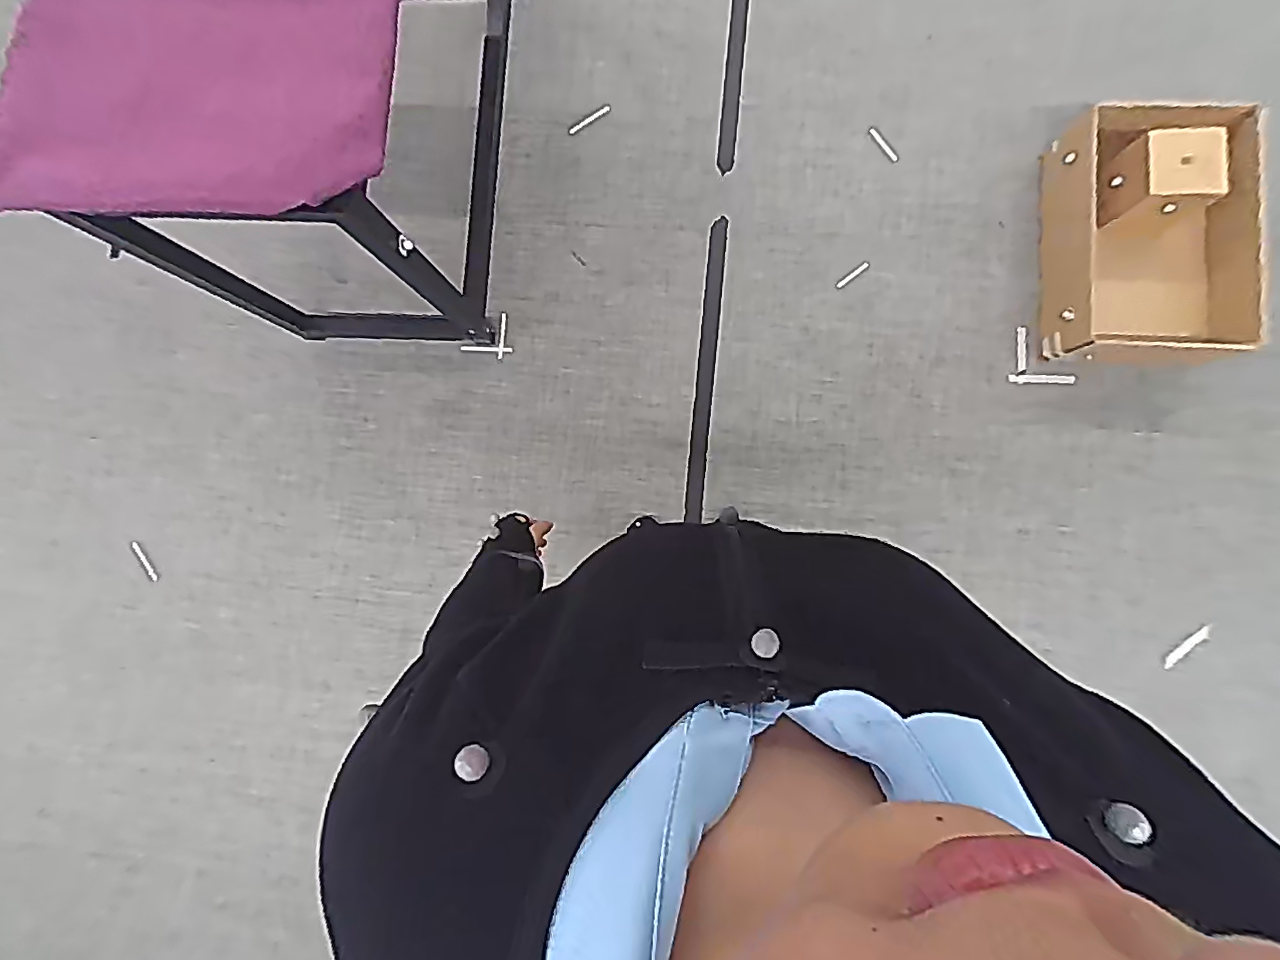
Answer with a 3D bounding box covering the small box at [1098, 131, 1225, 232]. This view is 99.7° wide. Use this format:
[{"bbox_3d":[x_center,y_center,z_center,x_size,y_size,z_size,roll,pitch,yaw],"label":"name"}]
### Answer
[{"bbox_3d":[1.311,-0.751,1.374,0.179,0.176,0.168,2,87,4],"label":"small box"}]
